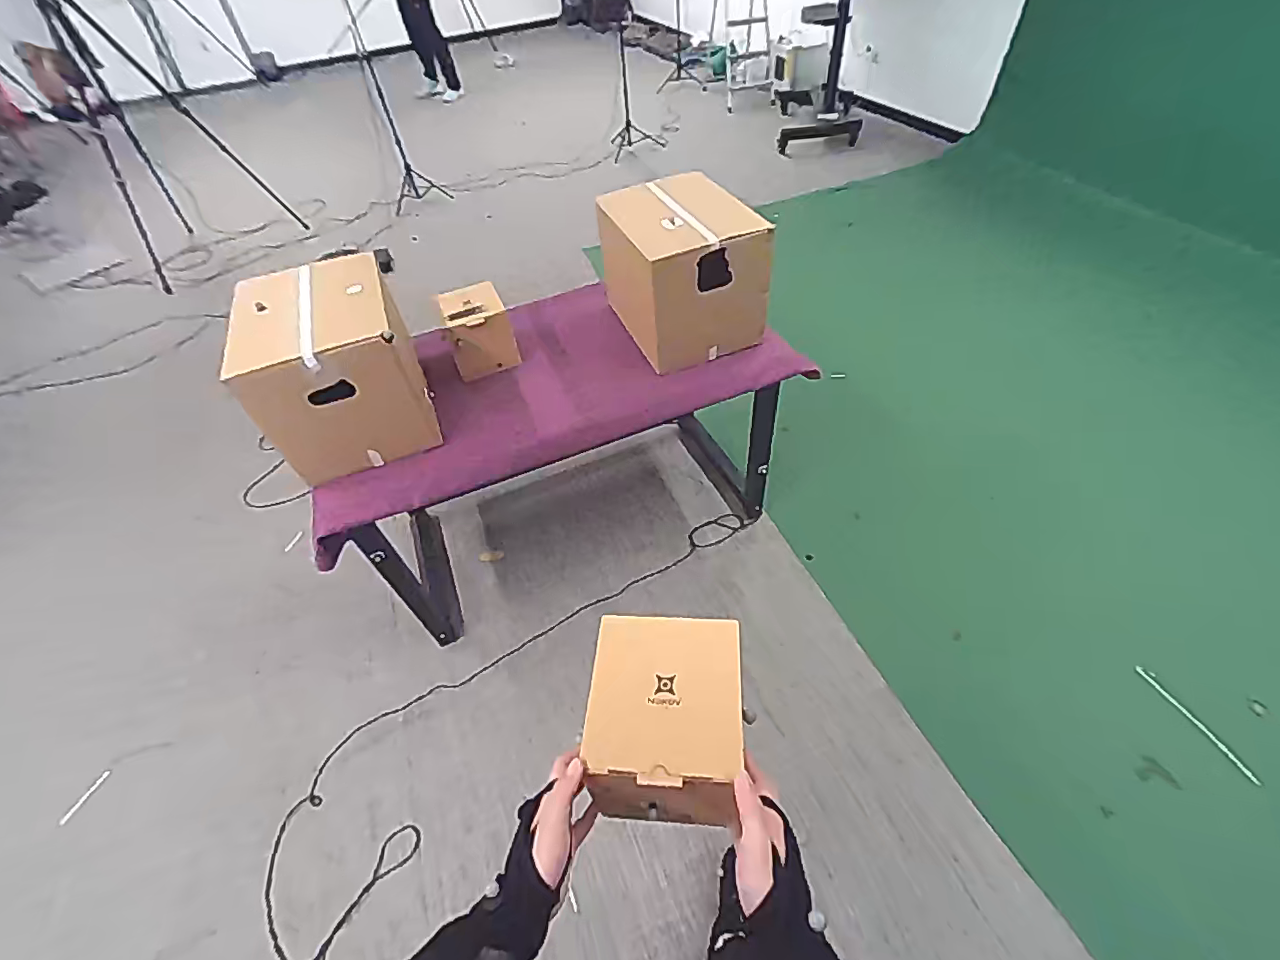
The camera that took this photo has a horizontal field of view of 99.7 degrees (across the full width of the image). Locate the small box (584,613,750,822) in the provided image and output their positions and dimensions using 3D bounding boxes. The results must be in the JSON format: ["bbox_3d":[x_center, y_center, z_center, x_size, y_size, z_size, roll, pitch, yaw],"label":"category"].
[{"bbox_3d":[0.036,0.279,0.639,0.168,0.176,0.179,0,46,6],"label":"small box"}]

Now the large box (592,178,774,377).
[{"bbox_3d":[0.099,-0.540,1.428,0.320,0.320,0.408,-20,51,-11],"label":"large box"}]
